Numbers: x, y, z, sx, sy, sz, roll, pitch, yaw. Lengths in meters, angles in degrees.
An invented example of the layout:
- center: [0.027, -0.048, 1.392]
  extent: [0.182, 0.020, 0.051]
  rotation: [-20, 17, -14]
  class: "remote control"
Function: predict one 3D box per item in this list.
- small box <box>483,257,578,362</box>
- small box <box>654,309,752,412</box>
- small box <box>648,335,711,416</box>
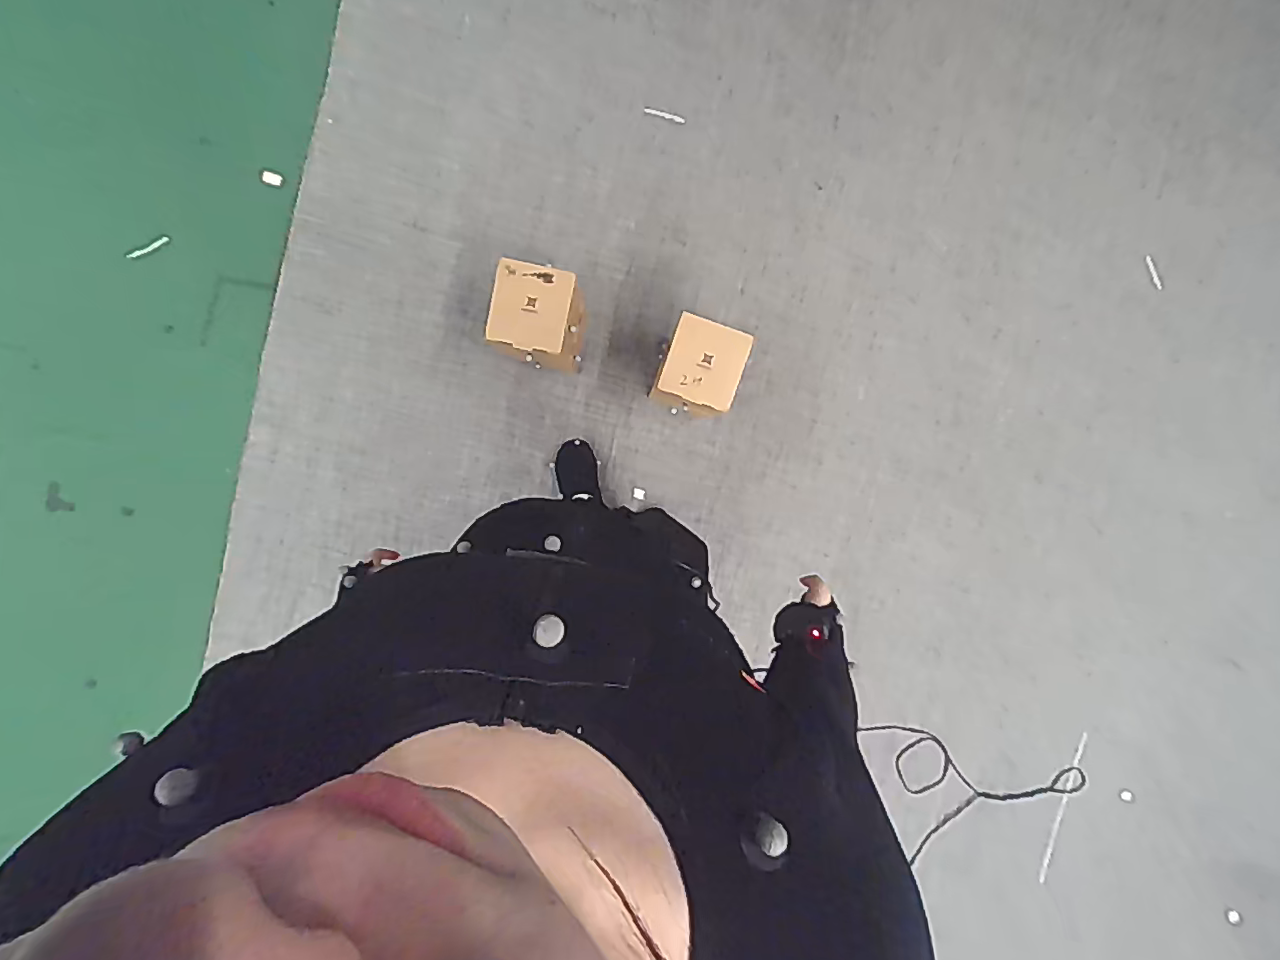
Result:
- center: [-0.237, -0.372, 1.212]
  extent: [0.168, 0.176, 0.179]
  rotation: [12, 95, -3]
  class: "small box"
- center: [0.134, -0.264, 1.235]
  extent: [0.168, 0.176, 0.179]
  rotation: [19, 94, -3]
  class: "small box"
- center: [0.124, -0.276, 1.399]
  extent: [0.168, 0.176, 0.179]
  rotation: [20, 95, -4]
  class: "small box"
